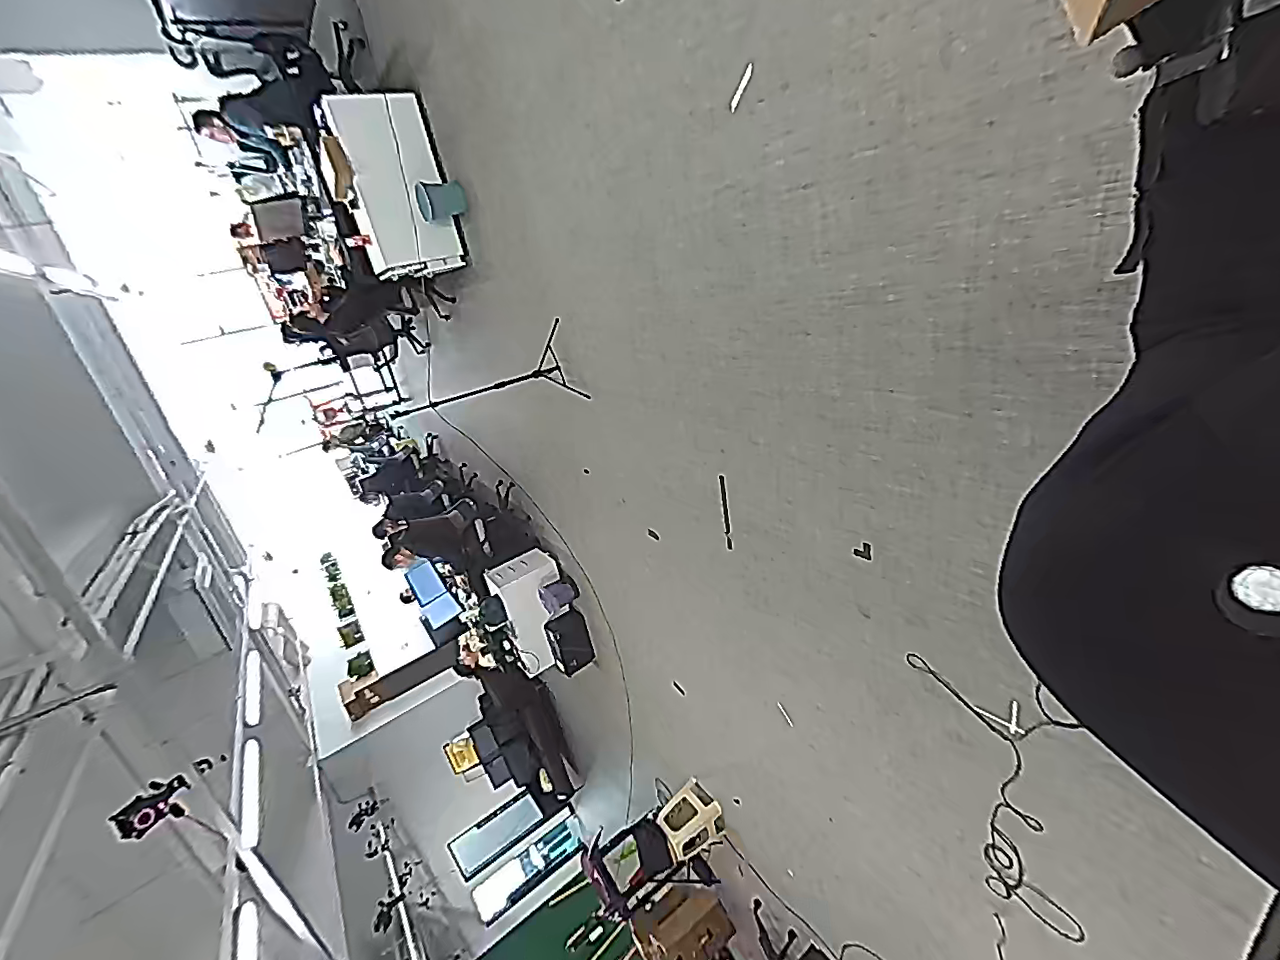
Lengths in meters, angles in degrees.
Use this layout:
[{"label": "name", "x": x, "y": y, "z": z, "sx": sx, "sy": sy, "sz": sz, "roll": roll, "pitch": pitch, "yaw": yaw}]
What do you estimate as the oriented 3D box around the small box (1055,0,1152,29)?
[{"label": "small box", "x": 0.216, "y": -0.306, "z": 0.181, "sx": 0.168, "sy": 0.176, "sz": 0.179, "roll": -23, "pitch": 101, "yaw": 42}]
